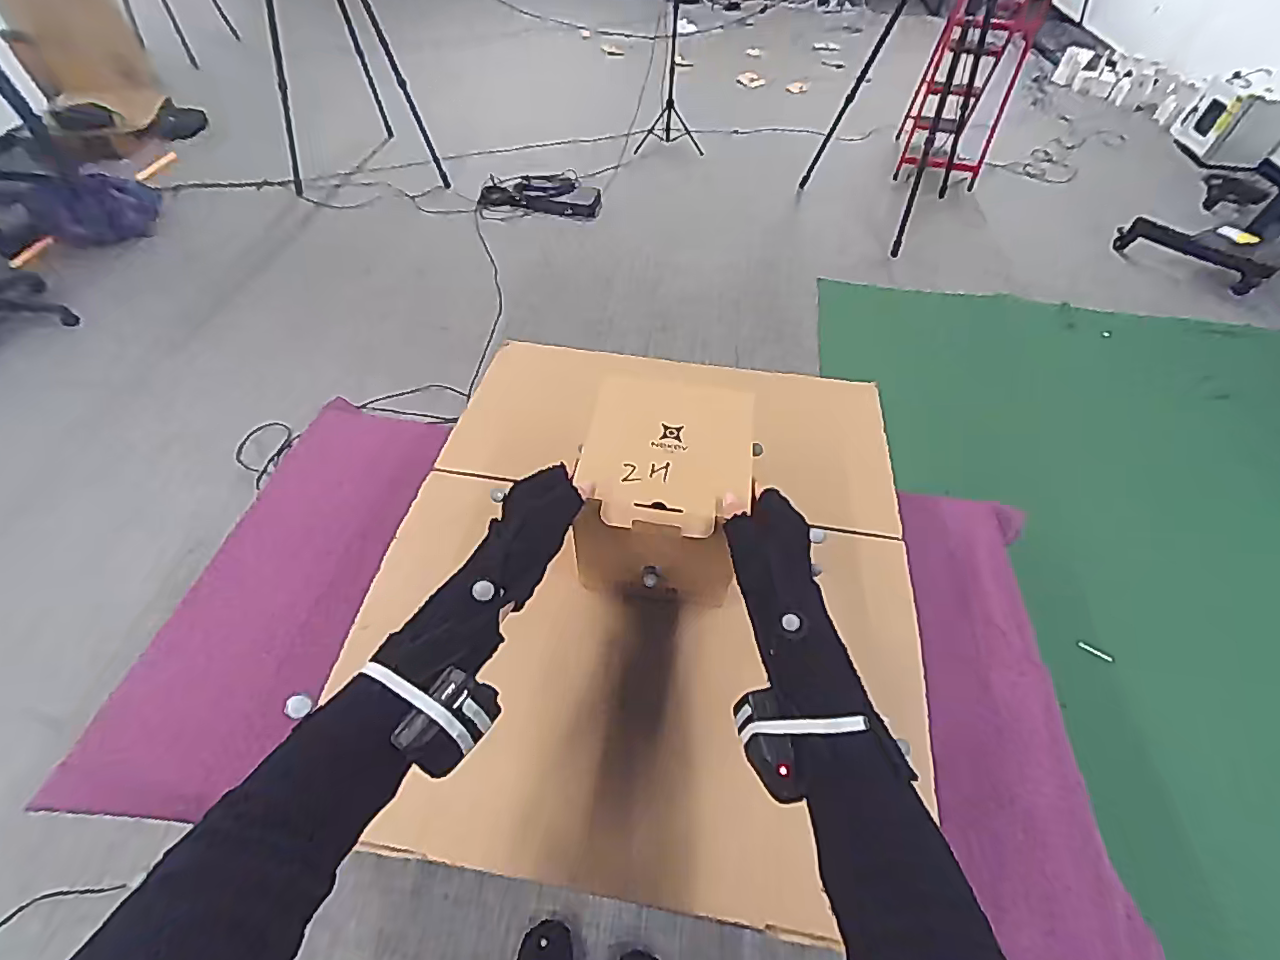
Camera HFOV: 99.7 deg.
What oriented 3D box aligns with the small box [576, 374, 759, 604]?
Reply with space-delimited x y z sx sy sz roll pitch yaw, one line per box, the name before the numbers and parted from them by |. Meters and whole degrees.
small box | 0.031 0.012 0.596 0.168 0.176 0.179 8 52 5
